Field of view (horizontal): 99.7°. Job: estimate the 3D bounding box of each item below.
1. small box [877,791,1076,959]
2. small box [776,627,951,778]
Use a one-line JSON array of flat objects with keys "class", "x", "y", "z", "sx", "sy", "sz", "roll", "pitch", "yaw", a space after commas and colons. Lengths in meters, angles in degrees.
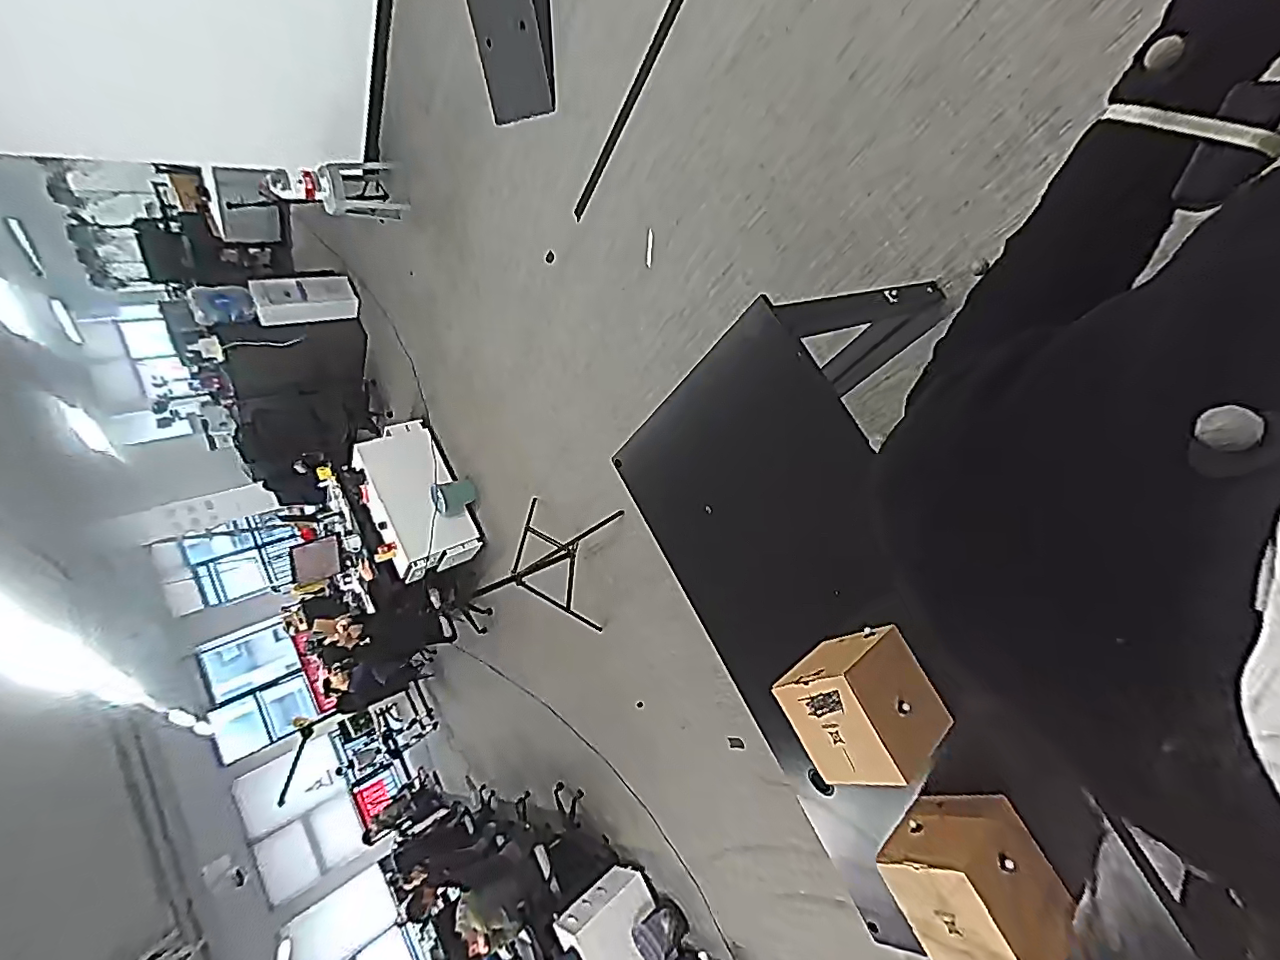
[{"class": "small box", "x": 0.516, "y": 0.610, "z": 0.835, "sx": 0.179, "sy": 0.176, "sz": 0.168, "roll": 59, "pitch": 143, "yaw": 13}, {"class": "small box", "x": 0.369, "y": 0.362, "z": 0.898, "sx": 0.179, "sy": 0.176, "sz": 0.168, "roll": 60, "pitch": 143, "yaw": 10}]
